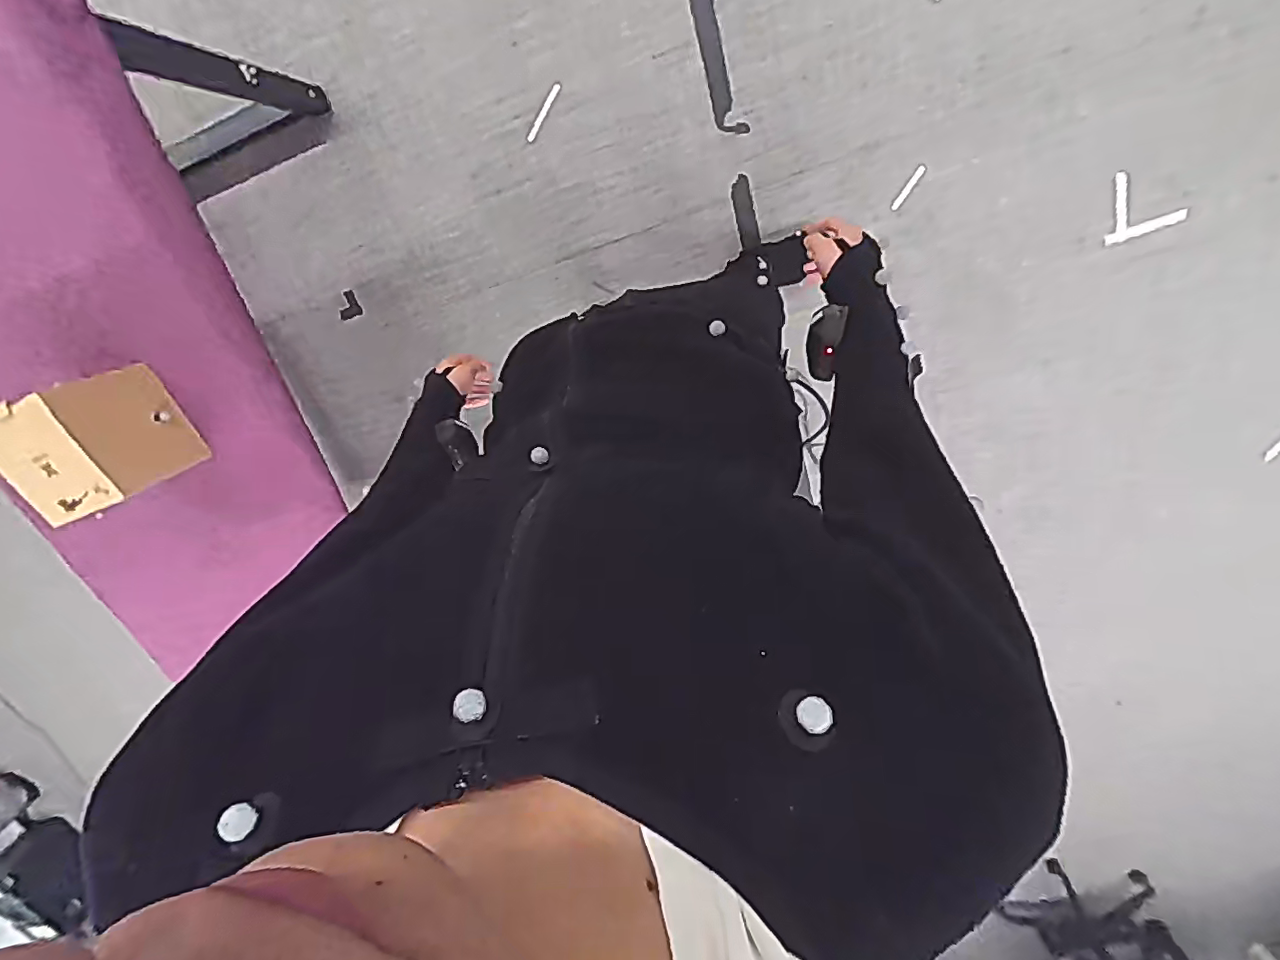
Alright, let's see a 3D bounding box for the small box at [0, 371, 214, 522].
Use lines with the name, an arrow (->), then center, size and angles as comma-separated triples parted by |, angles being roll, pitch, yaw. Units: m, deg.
small box -> -0.853, -0.063, 0.863 | 0.168, 0.176, 0.179 | -16, 113, 15
